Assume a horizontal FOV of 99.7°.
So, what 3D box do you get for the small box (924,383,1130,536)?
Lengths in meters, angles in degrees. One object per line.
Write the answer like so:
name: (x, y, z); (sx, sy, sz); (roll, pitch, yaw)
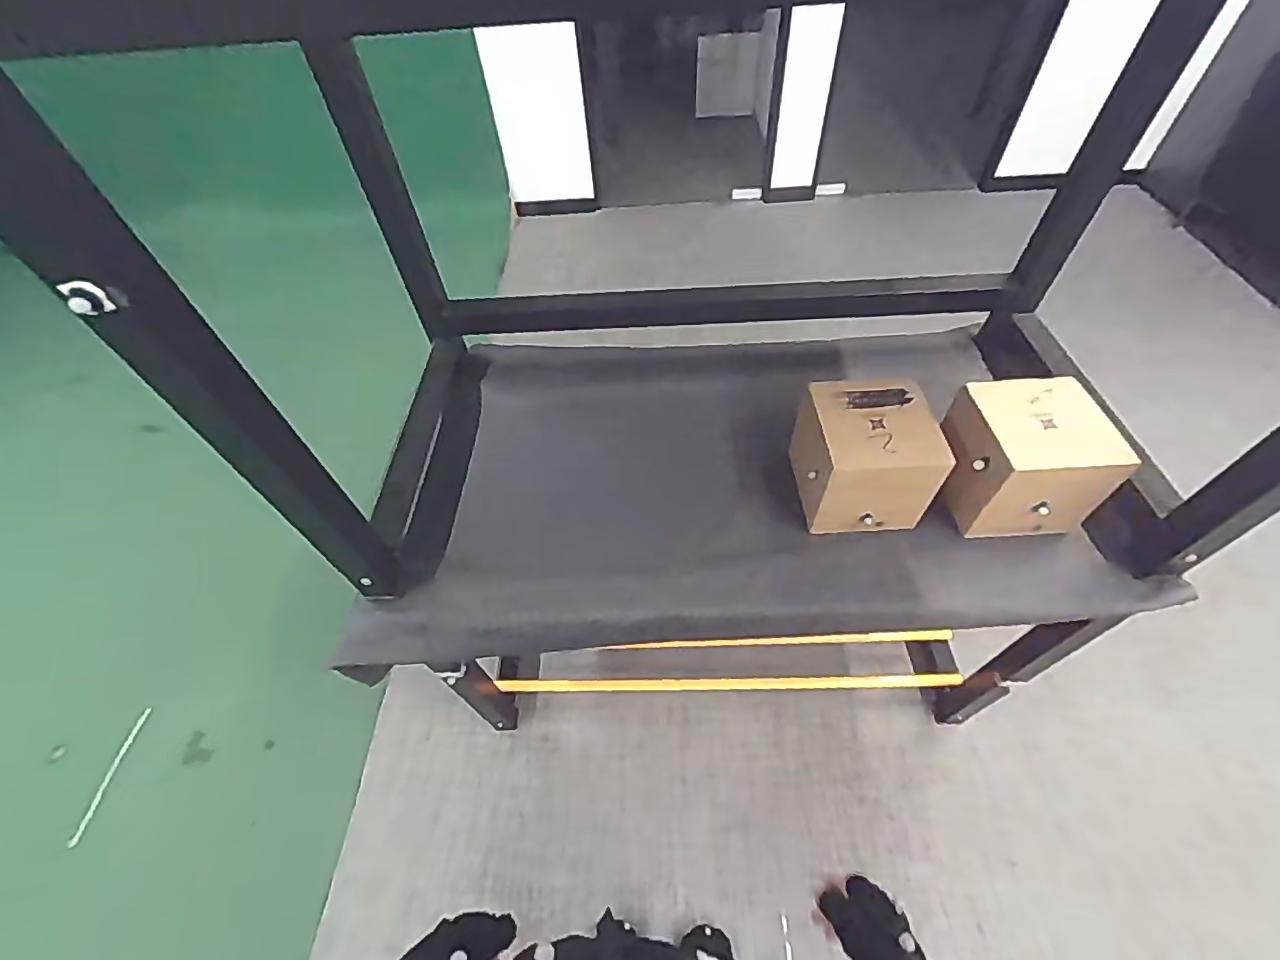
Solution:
small box: (0.570, -0.025, 0.829); (0.168, 0.176, 0.179); (-3, 50, 1)
